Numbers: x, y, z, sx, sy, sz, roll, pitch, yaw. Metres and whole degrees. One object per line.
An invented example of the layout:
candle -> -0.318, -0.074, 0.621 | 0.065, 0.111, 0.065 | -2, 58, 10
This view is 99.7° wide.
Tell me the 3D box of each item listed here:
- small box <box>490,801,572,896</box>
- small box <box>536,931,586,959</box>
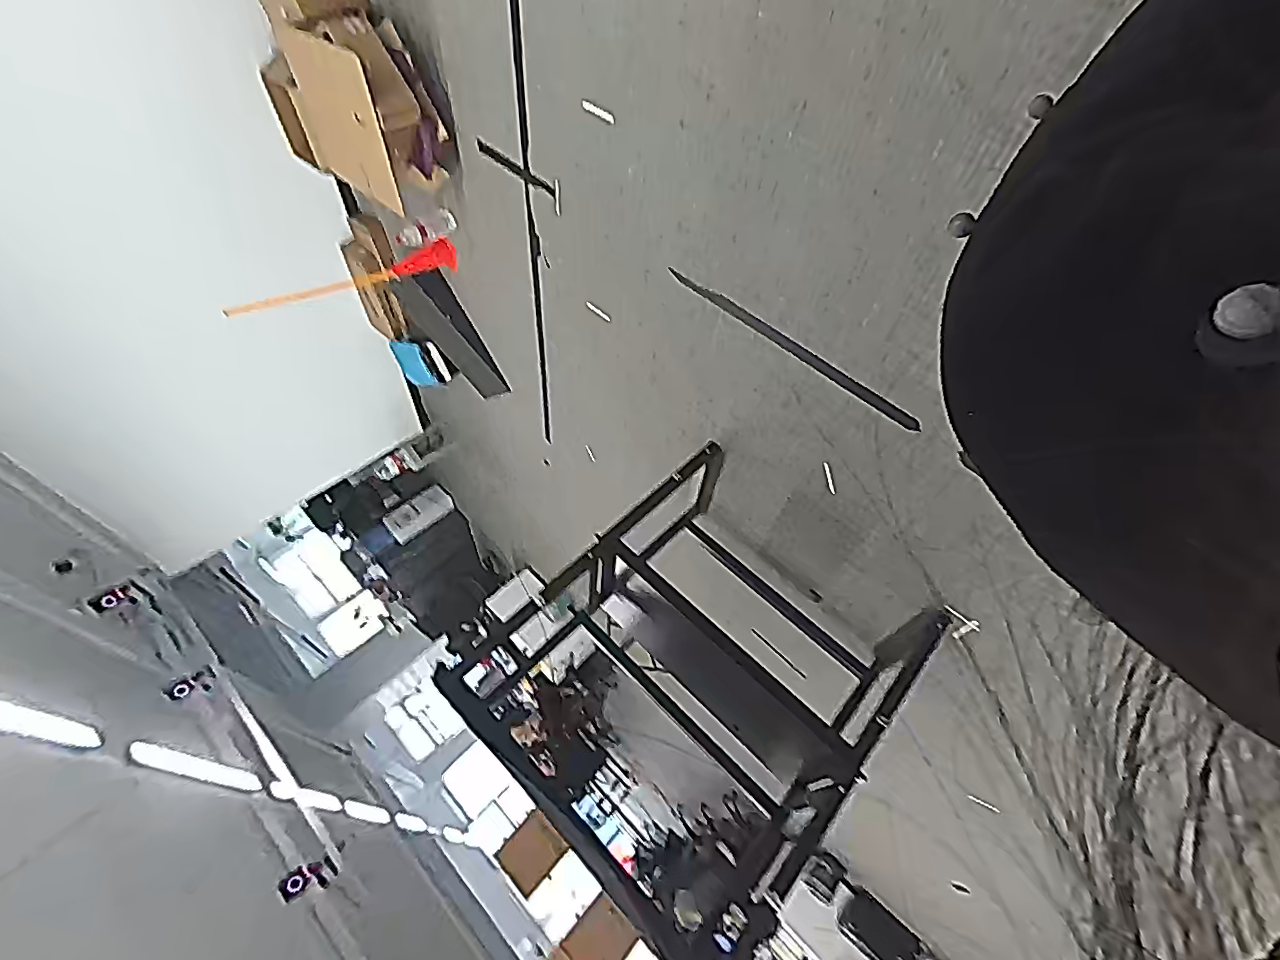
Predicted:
small box -> -0.318, 1.087, 1.607 | 0.168, 0.176, 0.179 | 40, 153, 19
small box -> -0.221, 1.350, 1.434 | 0.168, 0.176, 0.179 | 40, 152, 20
